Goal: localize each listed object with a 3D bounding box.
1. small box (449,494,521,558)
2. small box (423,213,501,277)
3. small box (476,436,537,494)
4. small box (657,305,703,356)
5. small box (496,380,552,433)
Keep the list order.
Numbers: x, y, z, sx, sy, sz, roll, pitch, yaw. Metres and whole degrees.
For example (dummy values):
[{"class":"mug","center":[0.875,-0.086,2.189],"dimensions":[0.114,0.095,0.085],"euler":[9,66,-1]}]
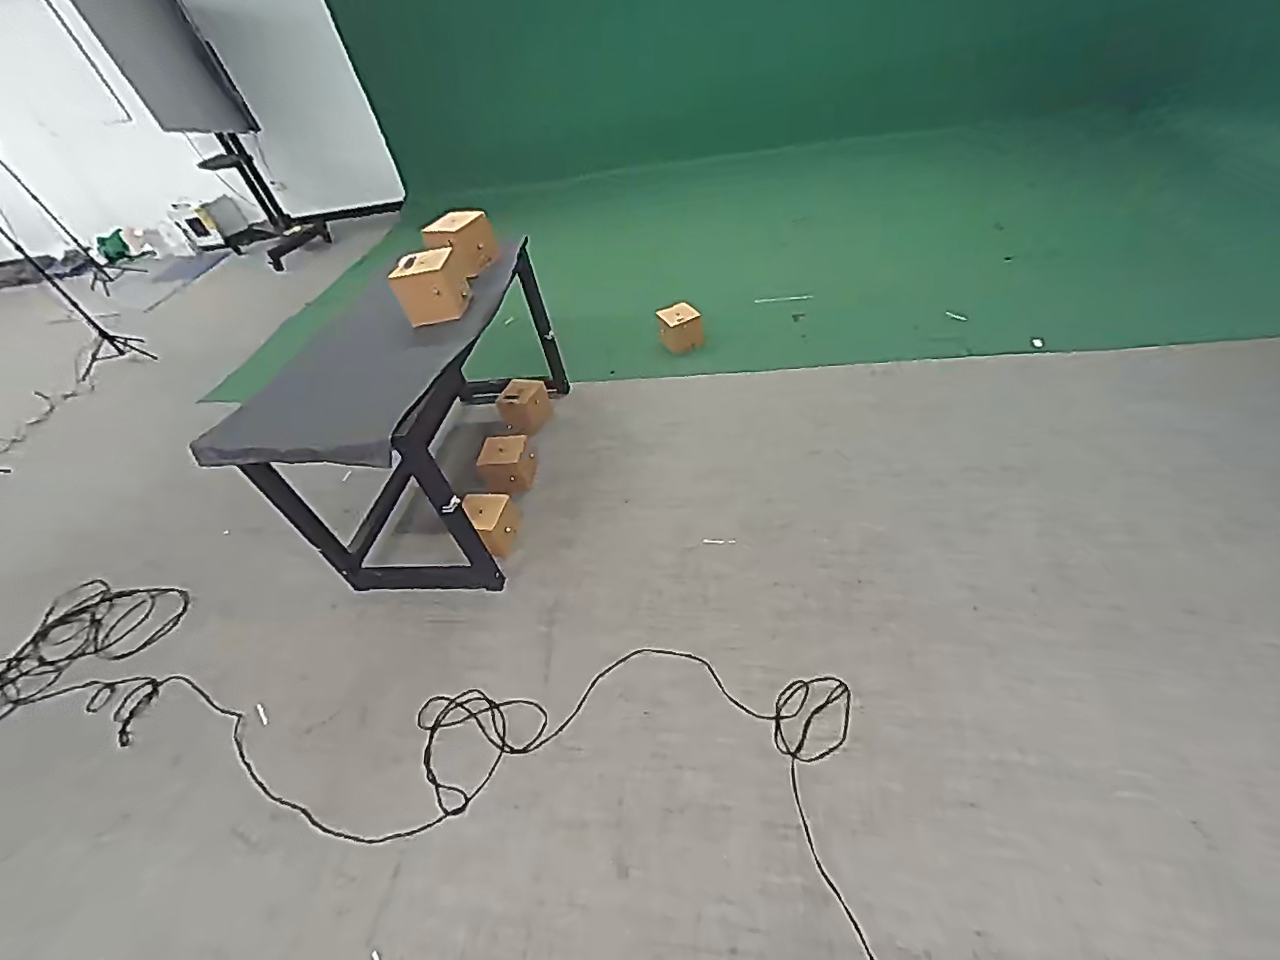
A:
[{"class":"small box","center":[-0.559,0.171,1.982],"dimensions":[0.179,0.176,0.168],"euler":[1,46,14]},{"class":"small box","center":[-0.642,-0.856,1.973],"dimensions":[0.179,0.176,0.168],"euler":[13,50,27]},{"class":"small box","center":[-0.535,-0.059,2.202],"dimensions":[0.179,0.176,0.168],"euler":[-4,45,10]},{"class":"small box","center":[0.204,-0.755,2.731],"dimensions":[0.168,0.176,0.179],"euler":[-24,45,-12]},{"class":"small box","center":[-0.524,-0.336,2.474],"dimensions":[0.168,0.176,0.179],"euler":[8,47,19]}]
